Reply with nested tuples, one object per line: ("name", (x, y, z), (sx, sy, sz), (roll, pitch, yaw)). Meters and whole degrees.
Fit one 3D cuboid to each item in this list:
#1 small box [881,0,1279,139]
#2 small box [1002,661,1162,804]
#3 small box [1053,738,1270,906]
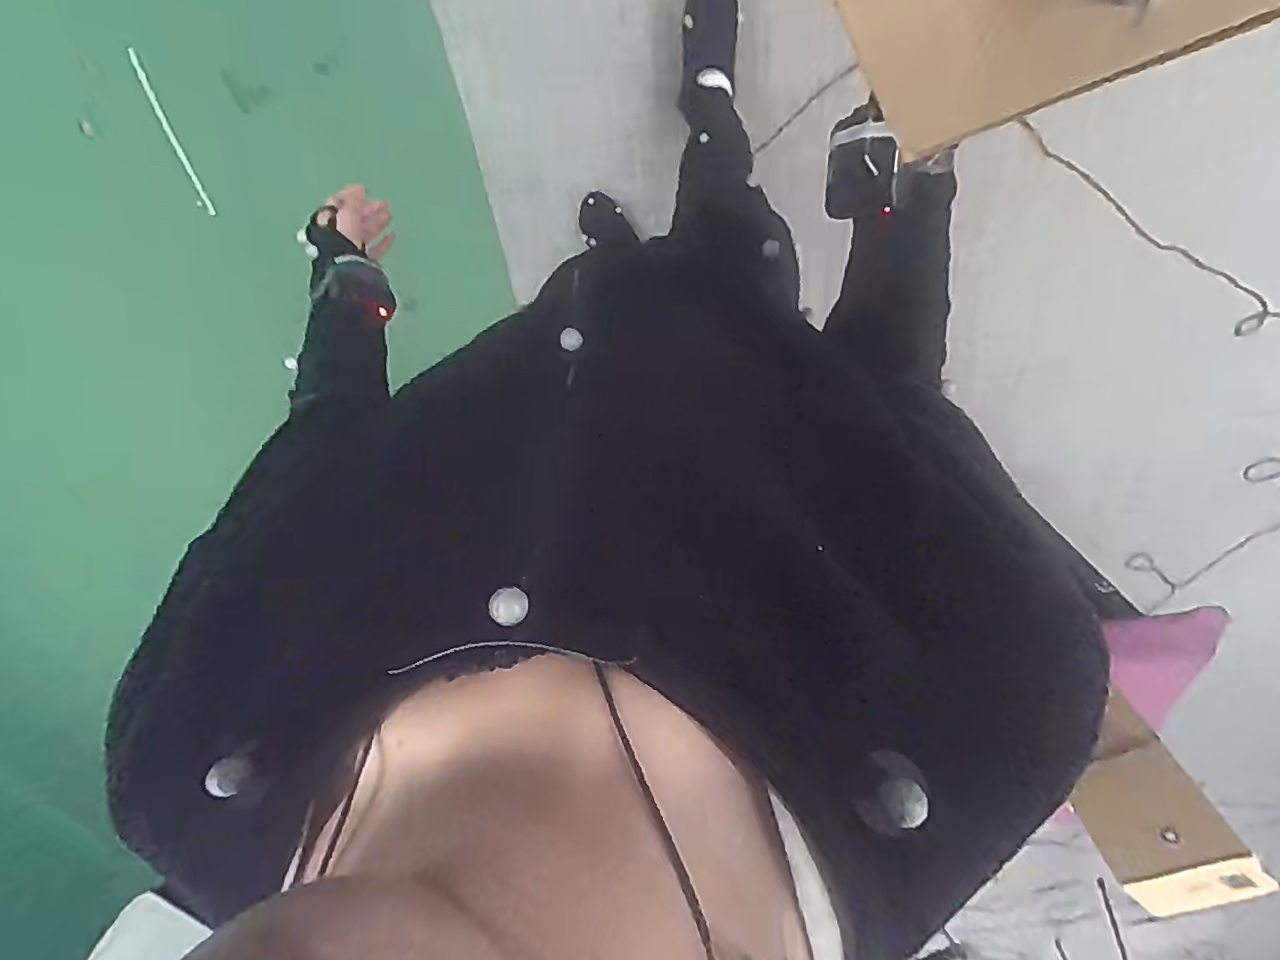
("small box", (0.170, -0.271, 0.175), (0.179, 0.168, 0.176), (4, 158, 47))
("small box", (0.838, 0.477, 1.031), (0.179, 0.176, 0.168), (-27, 119, 17))
("small box", (0.838, 0.556, 0.885), (0.179, 0.176, 0.168), (-38, 116, 24))
